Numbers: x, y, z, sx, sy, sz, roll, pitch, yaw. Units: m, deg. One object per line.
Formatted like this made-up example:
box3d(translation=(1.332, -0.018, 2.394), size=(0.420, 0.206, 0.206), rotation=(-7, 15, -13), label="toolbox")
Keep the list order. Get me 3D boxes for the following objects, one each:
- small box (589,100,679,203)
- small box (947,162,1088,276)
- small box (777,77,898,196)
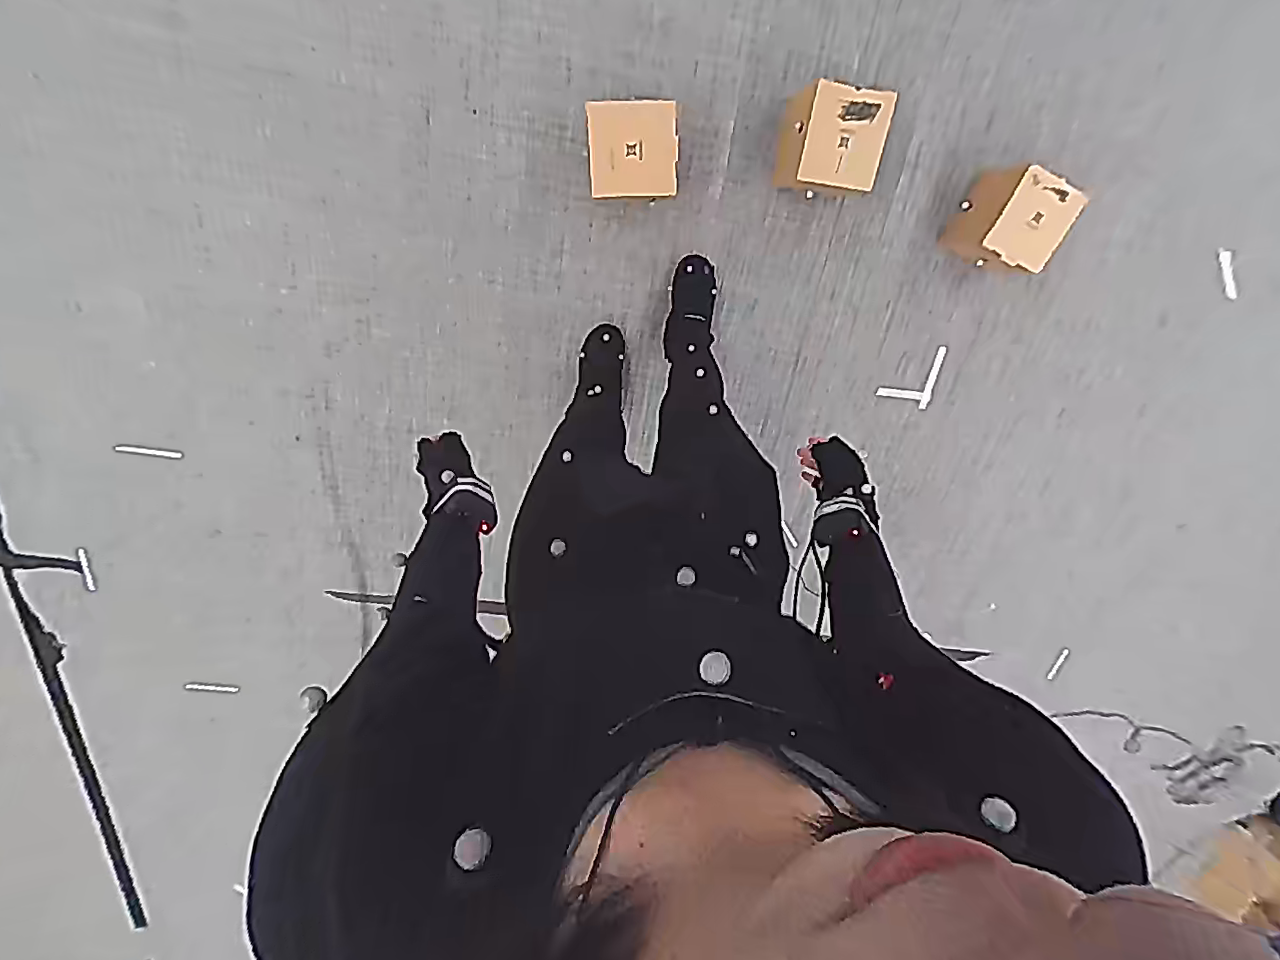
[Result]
box3d(translation=(-0.015, -0.680, 1.132), size=(0.179, 0.176, 0.168), rotation=(-3, 113, -2), label="small box")
box3d(translation=(0.849, -0.594, 1.242), size=(0.168, 0.176, 0.179), rotation=(20, 112, -14), label="small box")
box3d(translation=(0.406, -0.717, 1.147), size=(0.168, 0.176, 0.179), rotation=(5, 115, -7), label="small box")
